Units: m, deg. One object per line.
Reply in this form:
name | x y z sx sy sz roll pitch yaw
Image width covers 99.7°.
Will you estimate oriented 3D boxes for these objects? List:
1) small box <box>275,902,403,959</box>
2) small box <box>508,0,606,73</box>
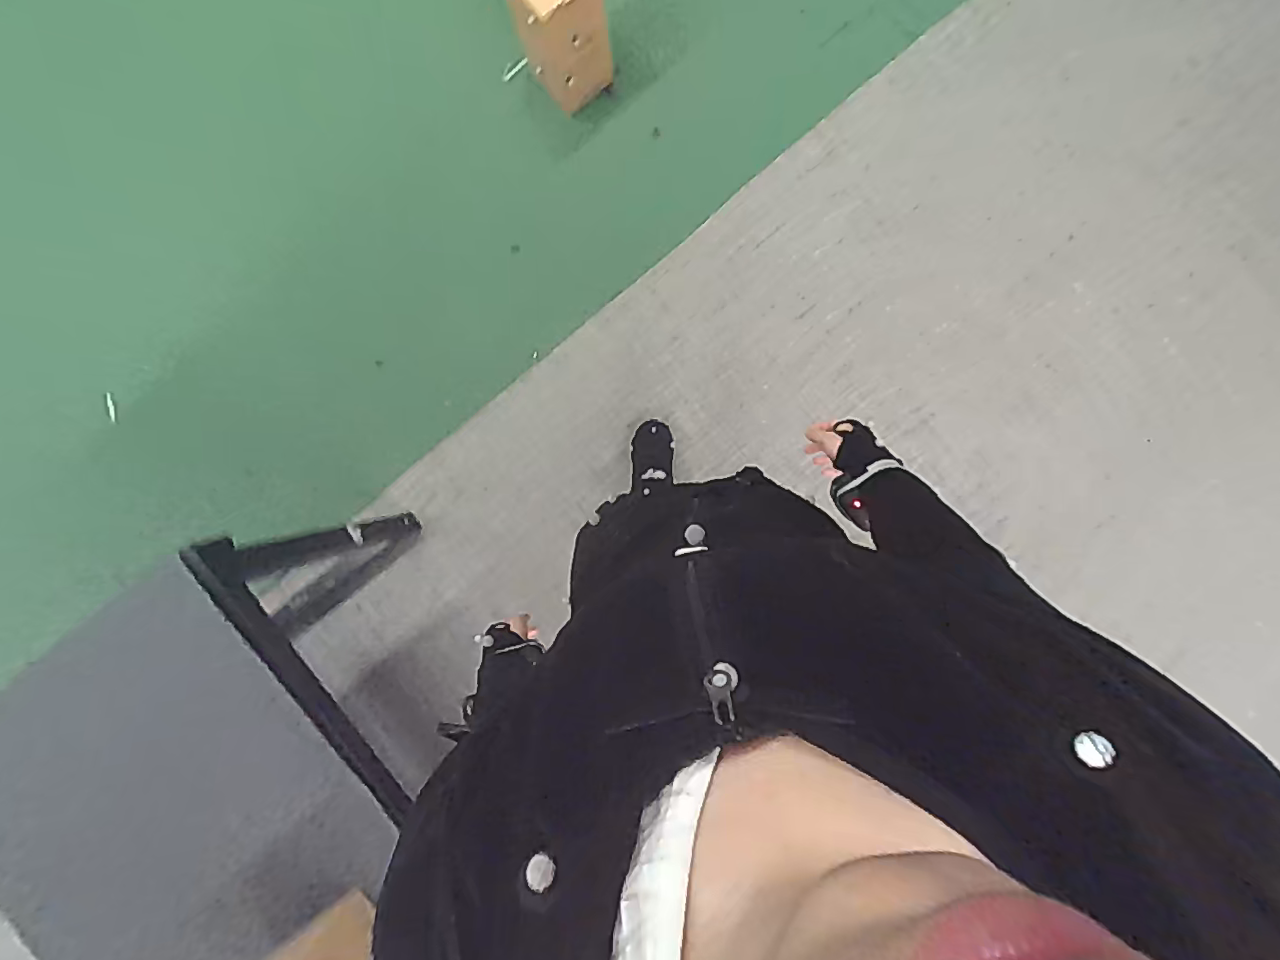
small box | -0.440 0.731 0.717 0.179 0.176 0.168 -39 90 3
small box | -0.197 -1.095 1.232 0.168 0.176 0.179 -39 89 2
